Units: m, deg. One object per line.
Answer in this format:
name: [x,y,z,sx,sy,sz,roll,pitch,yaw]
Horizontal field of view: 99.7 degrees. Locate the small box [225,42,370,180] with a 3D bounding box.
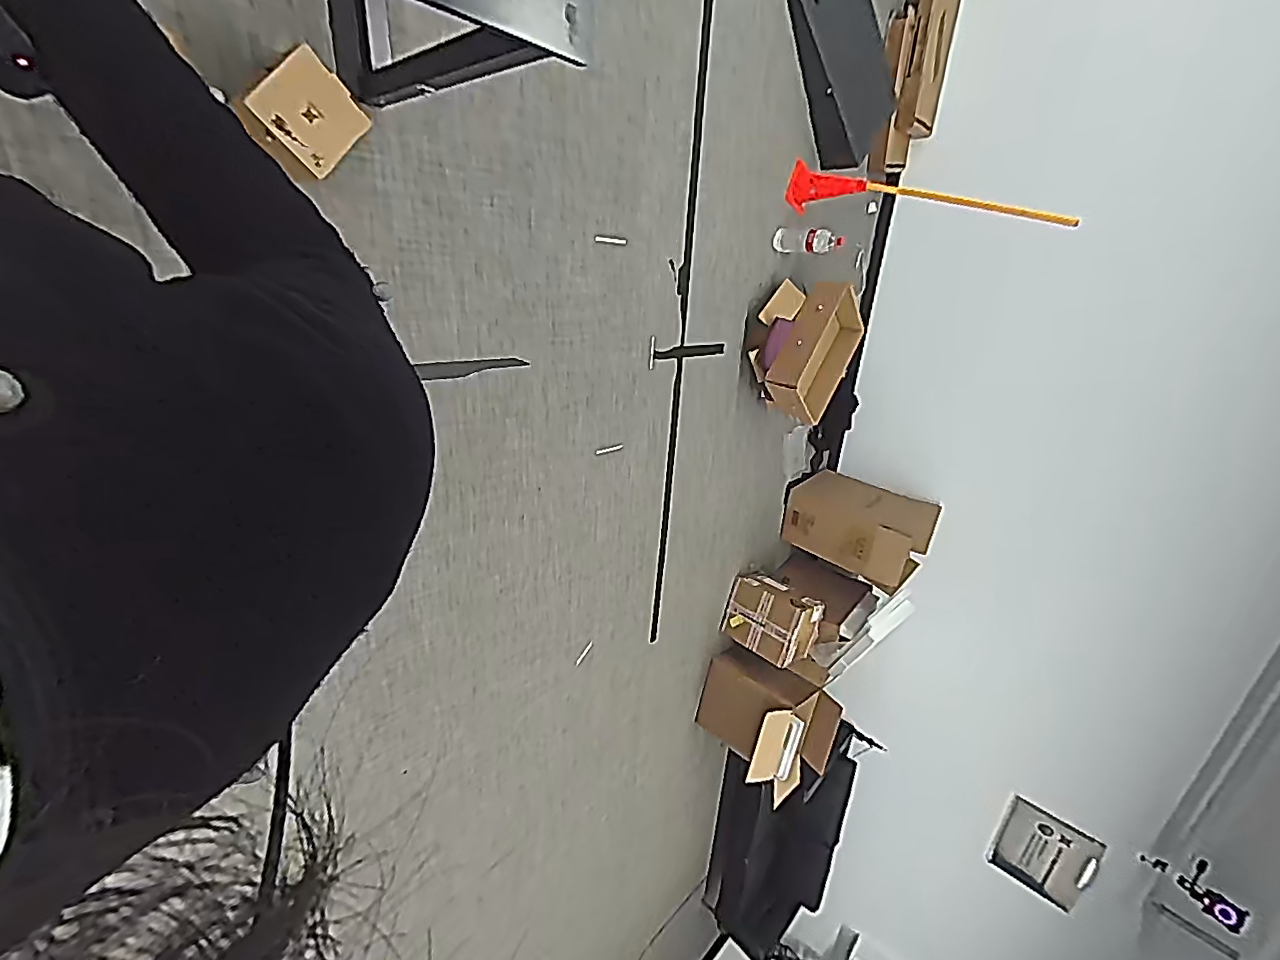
small box: [-0.713,-0.755,1.122,0.179,0.176,0.168,-58,141,-12]

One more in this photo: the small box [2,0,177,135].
small box: [-0.919,-0.709,0.905,0.179,0.176,0.168,11,98,-51]
